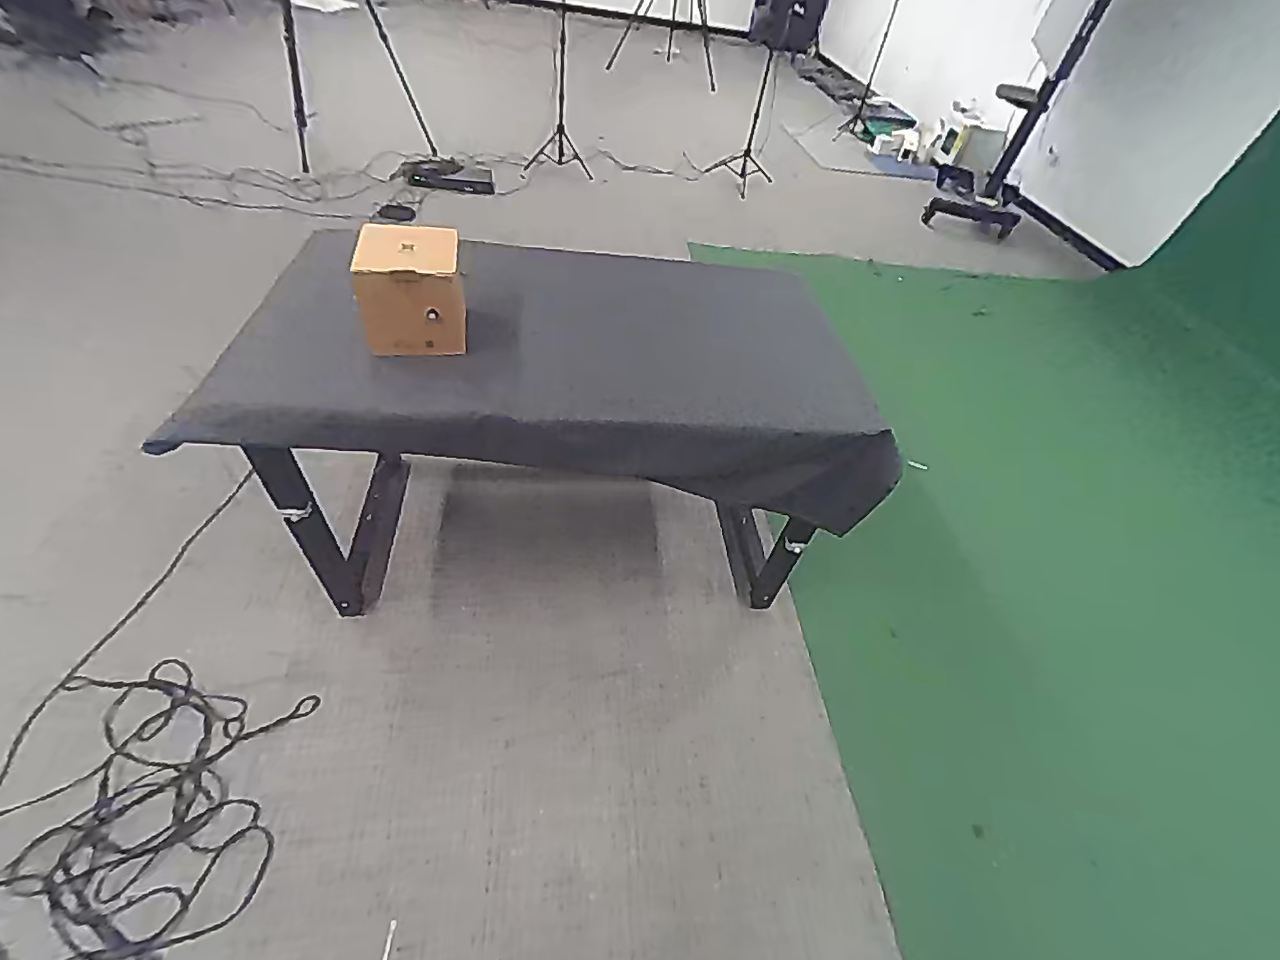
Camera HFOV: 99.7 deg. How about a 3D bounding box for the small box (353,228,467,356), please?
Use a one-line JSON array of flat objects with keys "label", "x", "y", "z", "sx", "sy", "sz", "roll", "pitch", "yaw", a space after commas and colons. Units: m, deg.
[{"label": "small box", "x": -0.414, "y": -0.346, "z": 1.006, "sx": 0.168, "sy": 0.176, "sz": 0.179, "roll": -3, "pitch": 47, "yaw": -15}]
